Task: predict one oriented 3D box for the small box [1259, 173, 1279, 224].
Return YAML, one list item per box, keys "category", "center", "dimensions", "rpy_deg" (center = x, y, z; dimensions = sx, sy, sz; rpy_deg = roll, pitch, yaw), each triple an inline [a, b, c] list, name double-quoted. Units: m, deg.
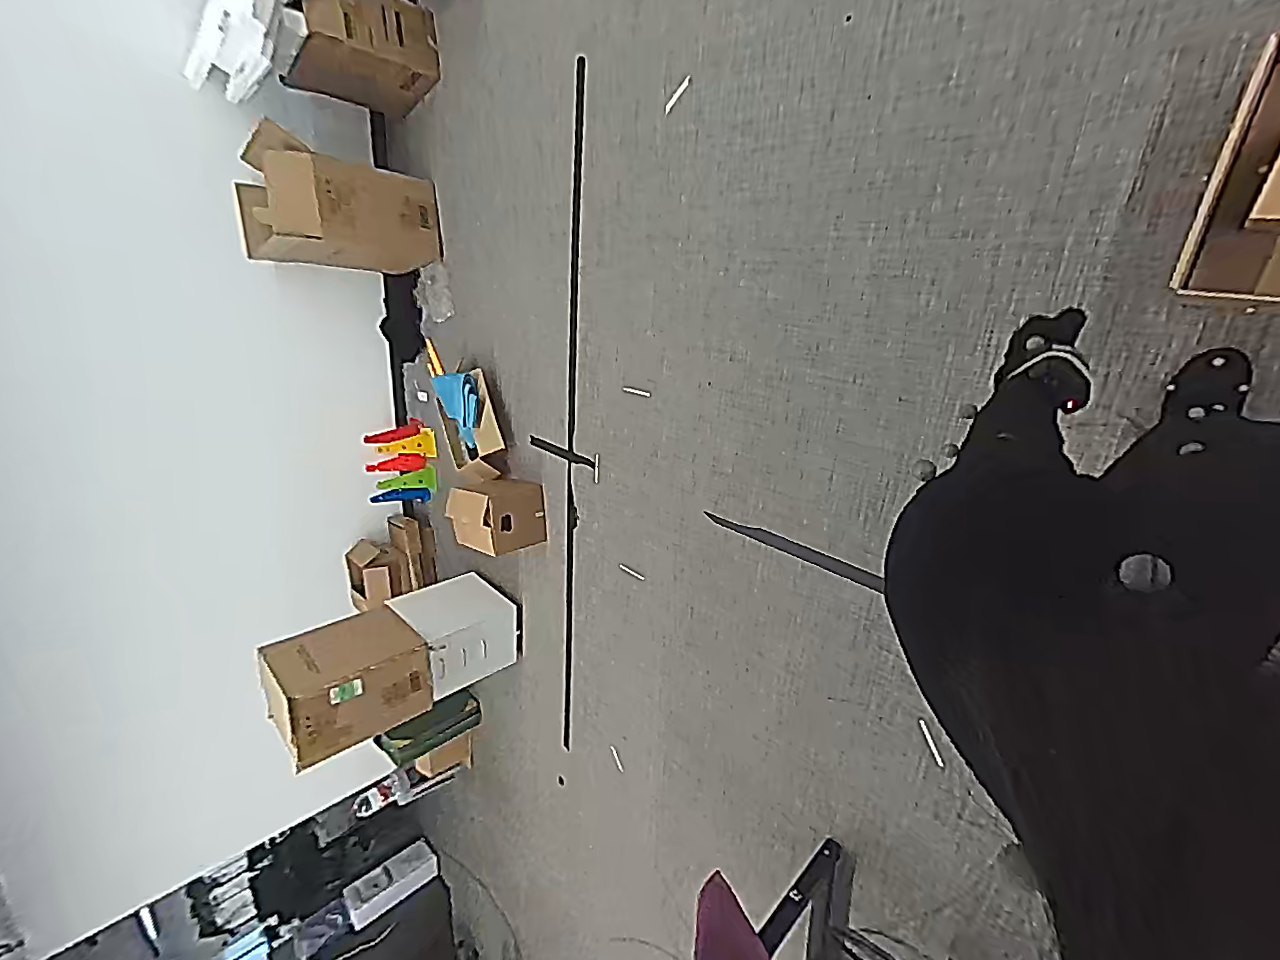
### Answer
- category: "small box"
  center: [1.094, -0.479, 0.809]
  dimensions: [0.179, 0.176, 0.168]
  rpy_deg: [27, 119, 40]
